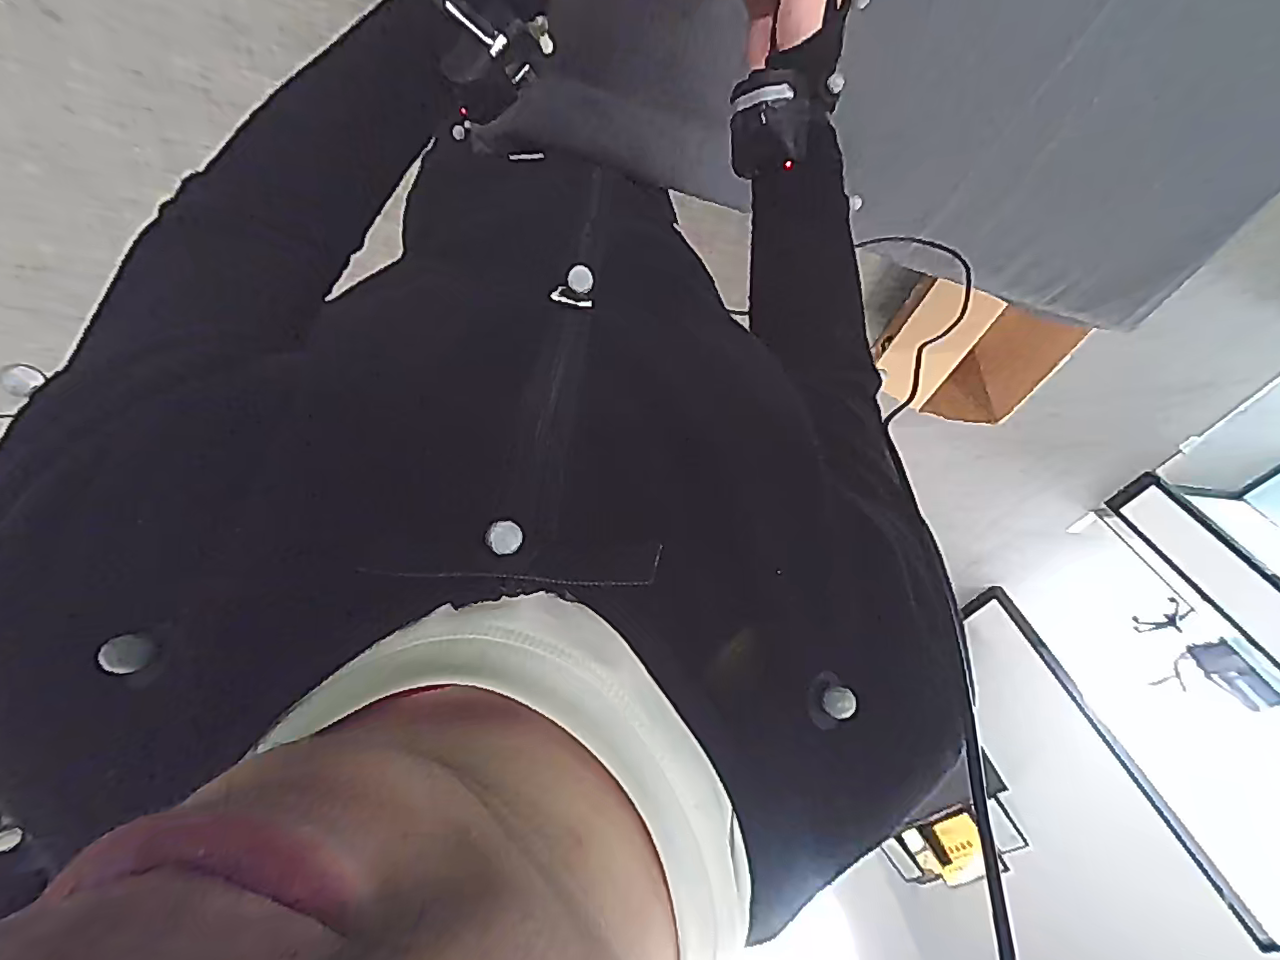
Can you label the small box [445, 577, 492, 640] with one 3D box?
[{"bbox_3d":[-0.659,0.491,2.069,0.168,0.176,0.179,0,137,-19],"label":"small box"}]
